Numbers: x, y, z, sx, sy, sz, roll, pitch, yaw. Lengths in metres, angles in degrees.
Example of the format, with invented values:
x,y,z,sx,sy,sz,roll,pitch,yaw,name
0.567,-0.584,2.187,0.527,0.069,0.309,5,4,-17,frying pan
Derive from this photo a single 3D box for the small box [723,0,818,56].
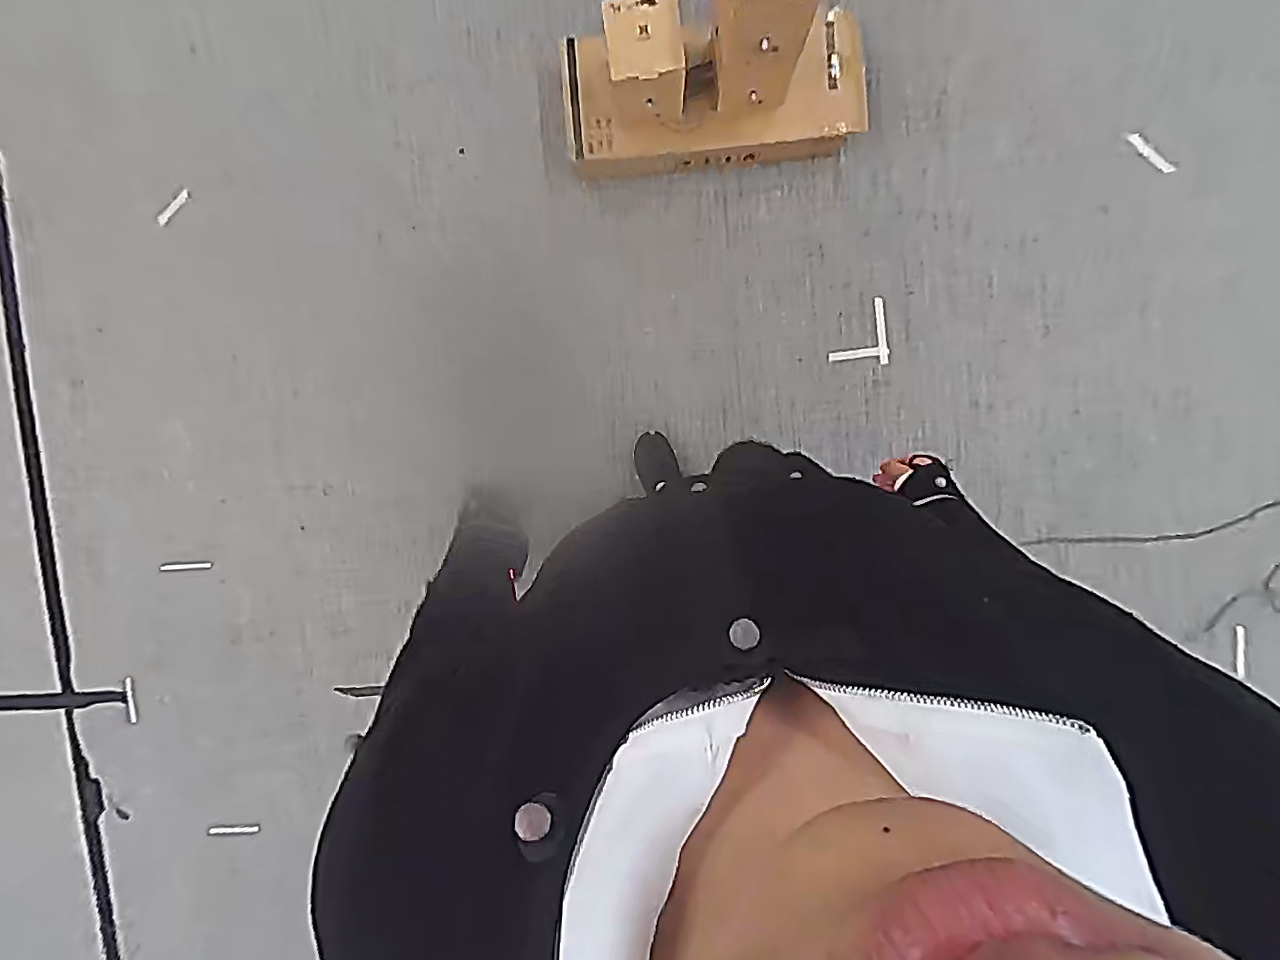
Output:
x,y,z,sx,sy,sz,roll,pitch,yaw,name
0.254,-0.989,1.066,0.168,0.176,0.179,-2,94,3,small box

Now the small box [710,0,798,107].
x,y,z,sx,sy,sz,roll,pitch,yaw,name
0.252,-0.996,1.230,0.168,0.176,0.179,-5,93,3,small box

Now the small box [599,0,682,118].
x,y,z,sx,sy,sz,roll,pitch,yaw,name
0.007,-0.968,1.243,0.168,0.176,0.179,-7,94,3,small box
